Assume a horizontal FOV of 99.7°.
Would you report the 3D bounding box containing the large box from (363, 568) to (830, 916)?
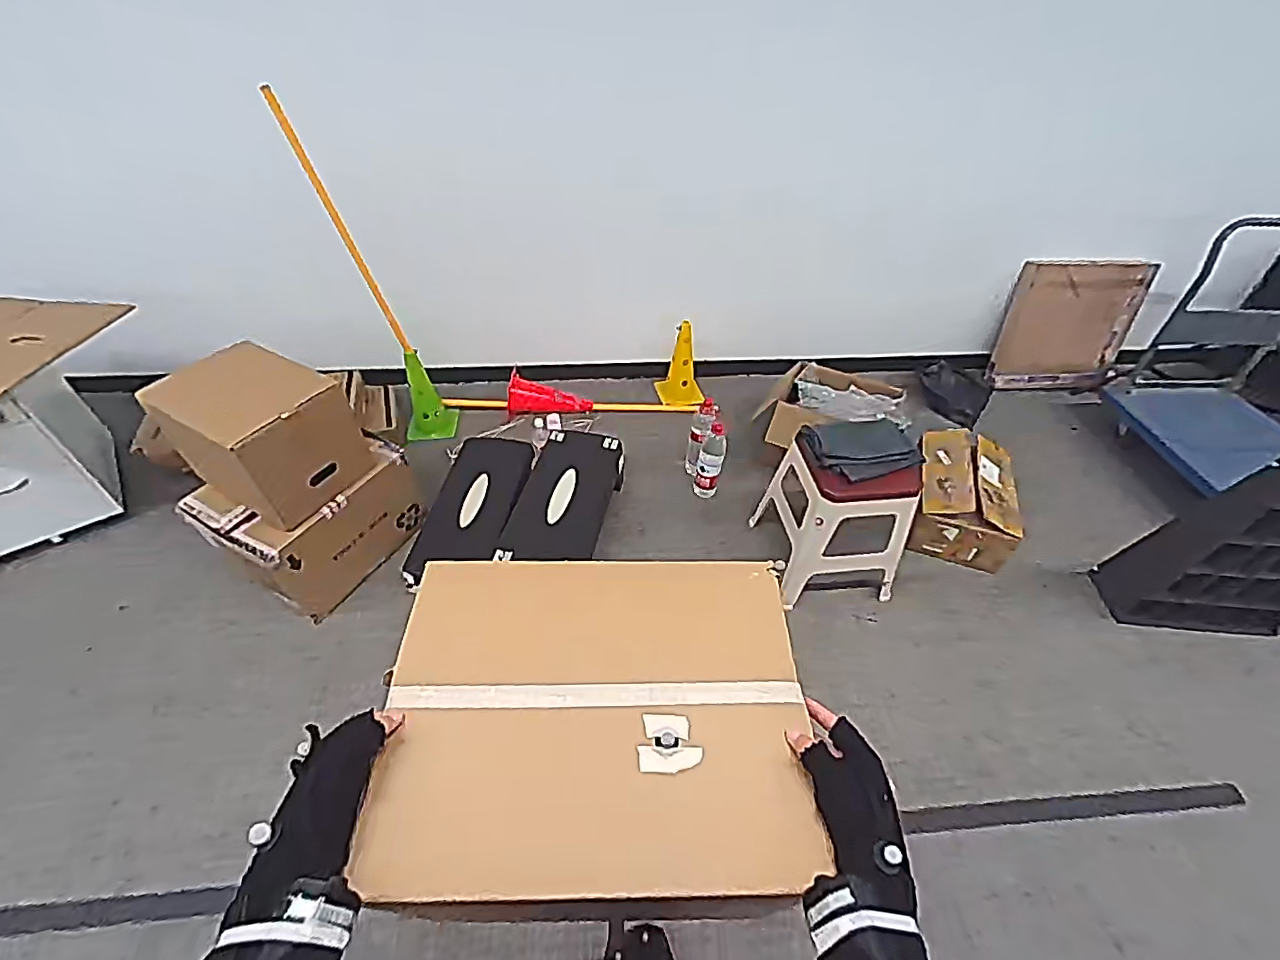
[{"bbox_3d":[-0.044,0.320,0.662,0.408,0.320,0.320,1,49,-2],"label":"large box"}]
